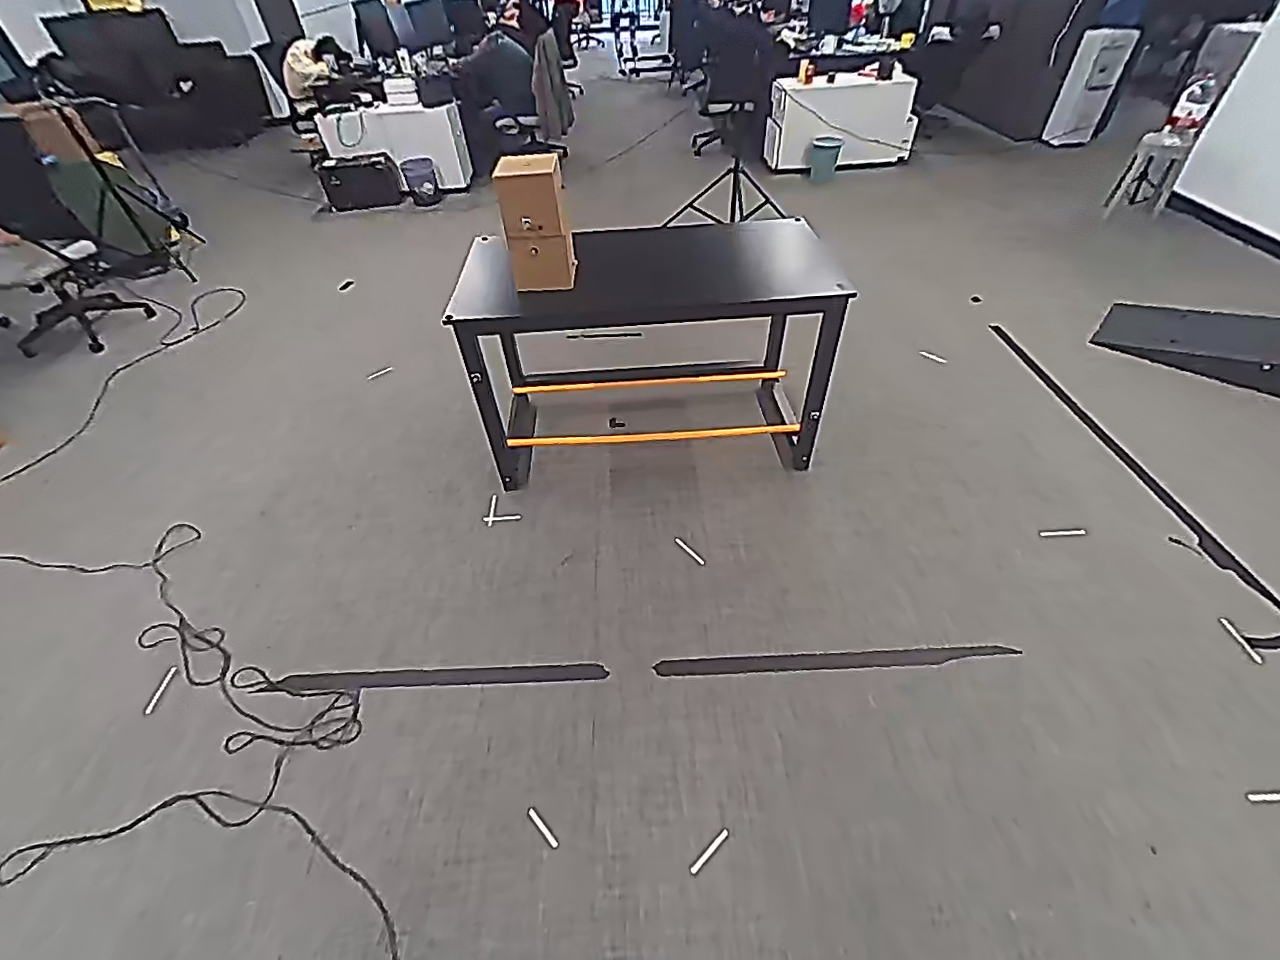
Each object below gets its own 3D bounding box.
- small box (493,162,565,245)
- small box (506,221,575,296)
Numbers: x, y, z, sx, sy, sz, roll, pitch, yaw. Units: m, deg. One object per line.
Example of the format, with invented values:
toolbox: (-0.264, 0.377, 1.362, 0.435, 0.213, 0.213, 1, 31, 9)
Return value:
small box: (-0.313, -0.799, 1.564, 0.168, 0.176, 0.179, -5, 46, 1)
small box: (-0.303, -0.686, 1.680, 0.179, 0.176, 0.168, -2, 45, 0)
